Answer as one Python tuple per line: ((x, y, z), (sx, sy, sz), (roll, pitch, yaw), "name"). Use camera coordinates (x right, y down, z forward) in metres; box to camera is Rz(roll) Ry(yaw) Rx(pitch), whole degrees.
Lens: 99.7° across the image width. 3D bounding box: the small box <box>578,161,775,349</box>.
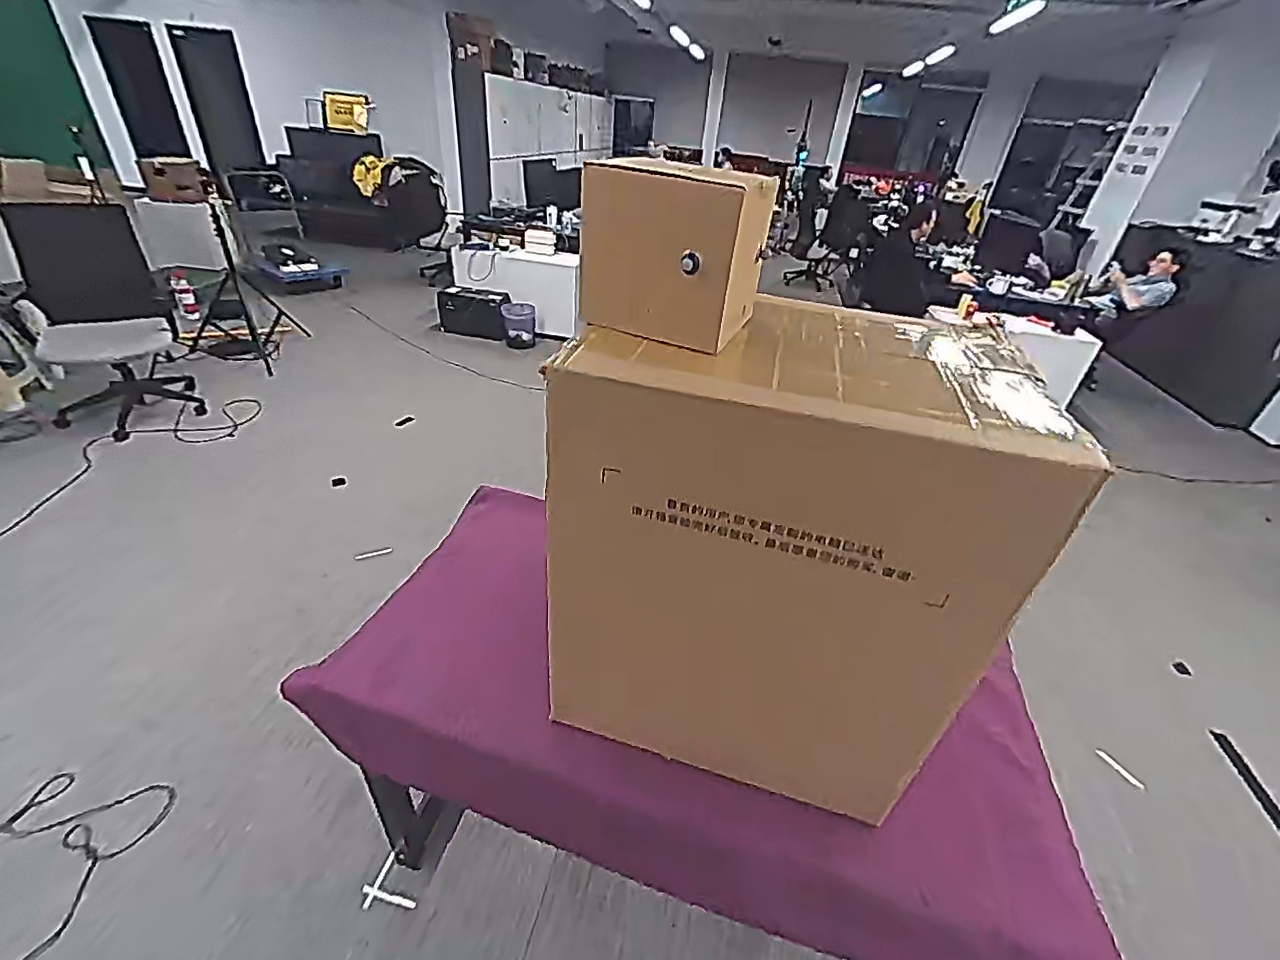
((0.040, -0.265, 0.633), (0.179, 0.176, 0.168), (17, 34, 16), "small box")
